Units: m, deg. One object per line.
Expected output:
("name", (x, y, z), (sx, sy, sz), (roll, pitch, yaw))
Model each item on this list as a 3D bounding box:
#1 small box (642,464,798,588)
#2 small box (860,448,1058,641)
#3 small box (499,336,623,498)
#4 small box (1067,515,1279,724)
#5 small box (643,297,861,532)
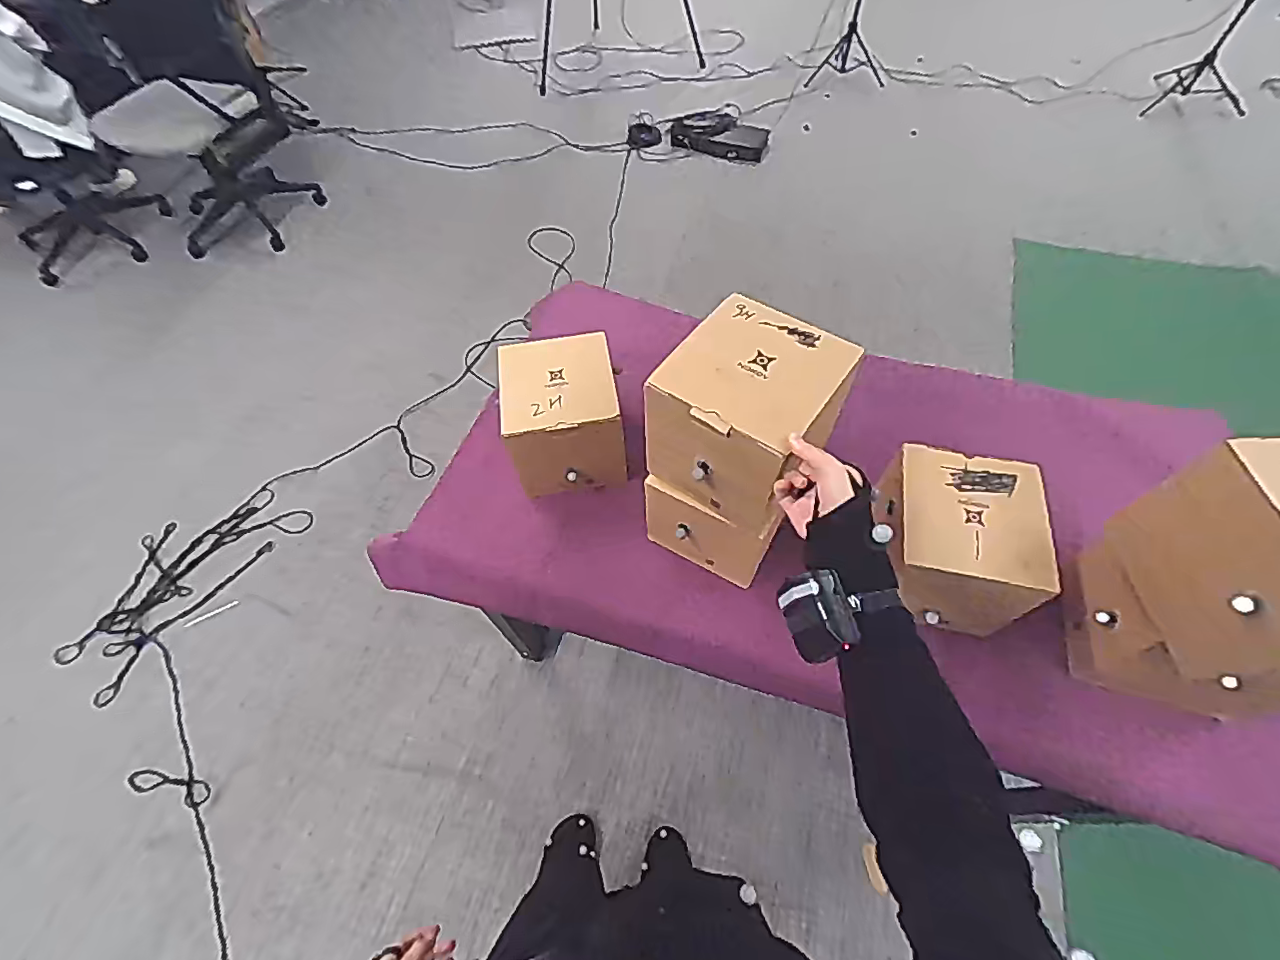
("small box", (0.119, 0.024, 0.763), (0.168, 0.176, 0.179), (26, 61, 18))
("small box", (0.398, 0.088, 0.709), (0.168, 0.176, 0.179), (11, 58, 9))
("small box", (-0.120, -0.095, 0.843), (0.168, 0.176, 0.179), (-8, 58, -3))
("small box", (0.648, 0.171, 0.644), (0.179, 0.176, 0.168), (16, 58, 12))
("small box", (0.122, -0.070, 0.628), (0.168, 0.176, 0.179), (32, 64, 20))
